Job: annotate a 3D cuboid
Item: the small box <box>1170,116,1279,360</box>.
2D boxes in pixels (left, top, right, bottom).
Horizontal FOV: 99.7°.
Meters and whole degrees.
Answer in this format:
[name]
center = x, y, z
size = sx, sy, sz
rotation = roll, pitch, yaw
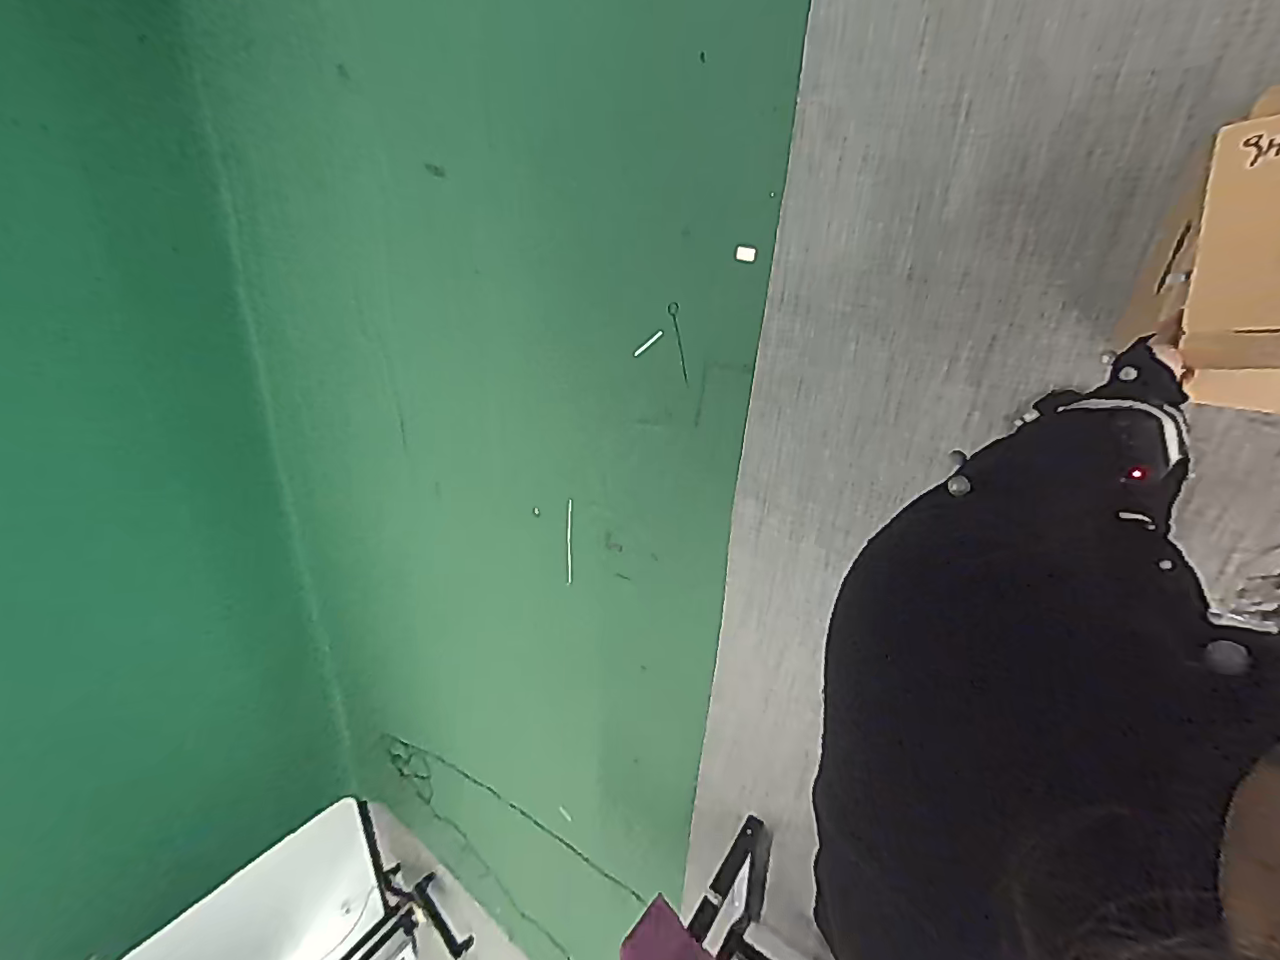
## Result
[small box]
center = 0.589, -0.200, 0.467
size = 0.168, 0.176, 0.179
rotation = 11, 97, 43
